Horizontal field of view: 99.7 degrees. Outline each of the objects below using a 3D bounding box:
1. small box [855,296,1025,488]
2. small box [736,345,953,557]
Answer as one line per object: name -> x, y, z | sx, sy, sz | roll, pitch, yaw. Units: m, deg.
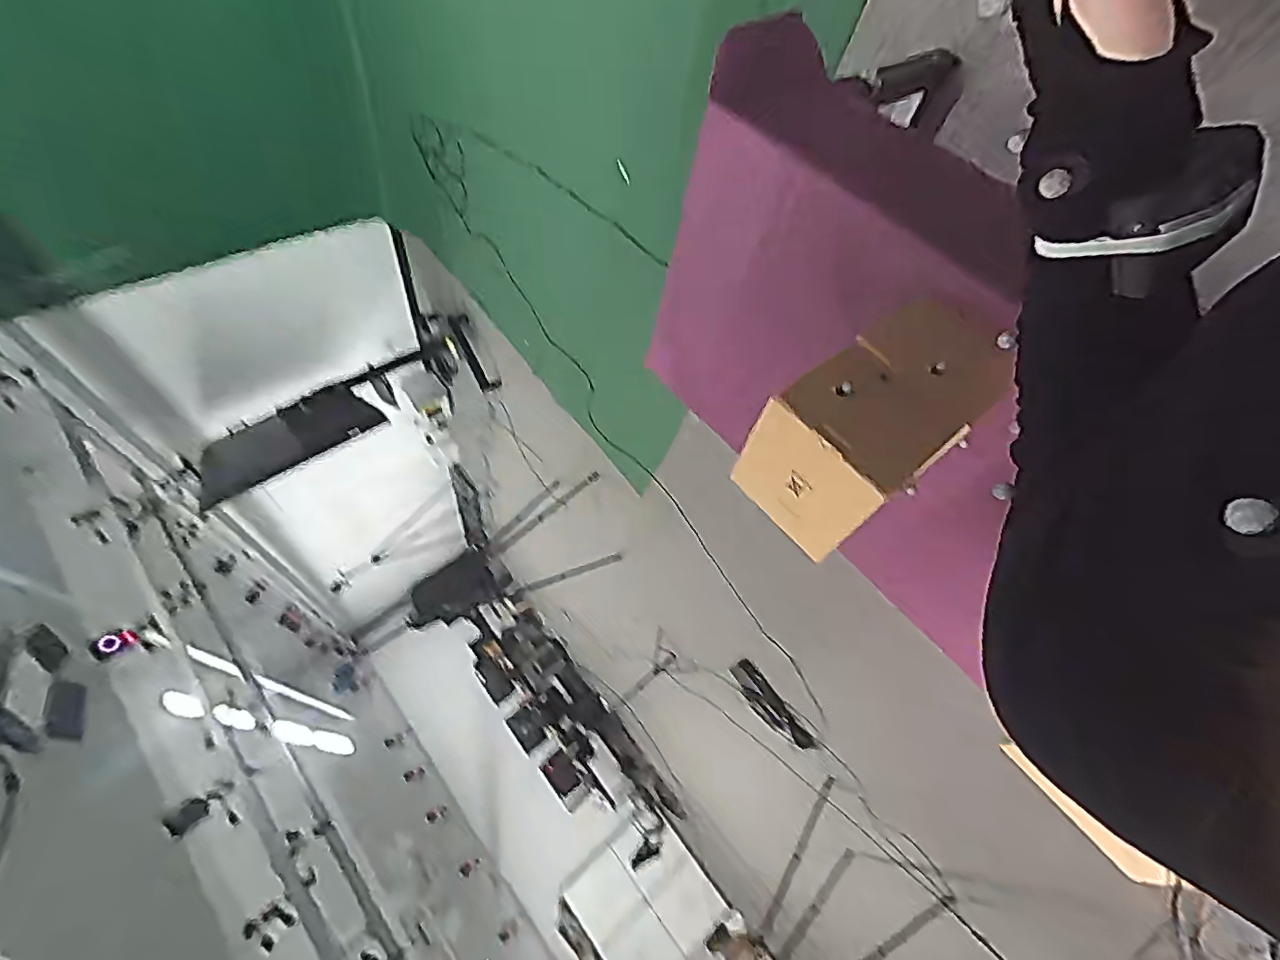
small box -> 0.380, -0.124, 0.754 | 0.179, 0.176, 0.168 | 48, 152, 16
small box -> 0.258, -0.039, 0.688 | 0.168, 0.176, 0.179 | 47, 153, 19
